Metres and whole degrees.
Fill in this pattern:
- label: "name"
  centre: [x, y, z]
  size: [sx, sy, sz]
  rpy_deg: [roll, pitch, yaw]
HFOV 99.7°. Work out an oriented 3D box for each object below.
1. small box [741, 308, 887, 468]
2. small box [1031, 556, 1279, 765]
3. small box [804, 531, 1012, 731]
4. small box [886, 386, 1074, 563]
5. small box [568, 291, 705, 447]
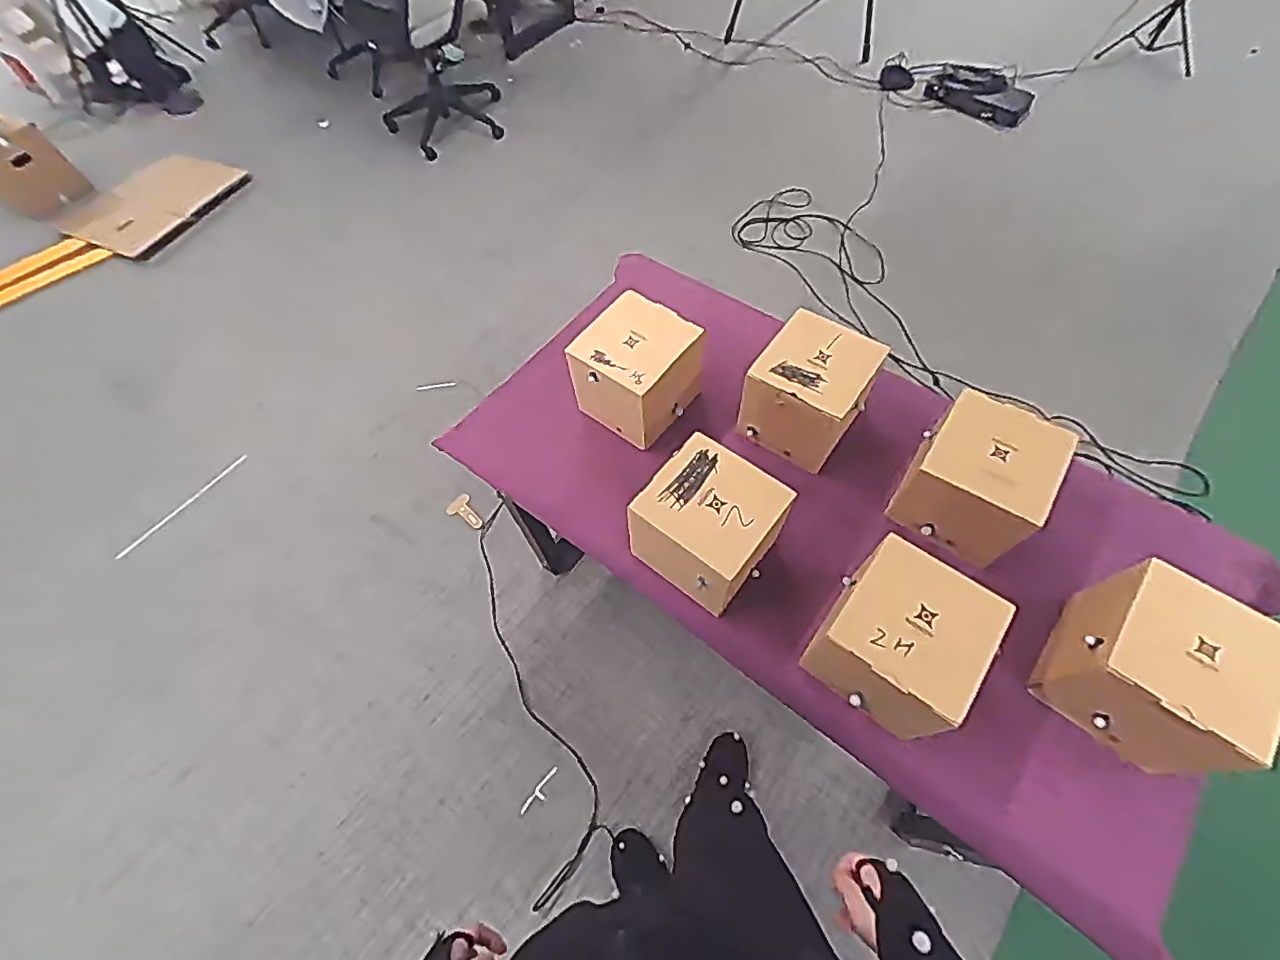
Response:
- label: "small box"
  centre: [0.287, -0.152, 0.931]
  size: [0.168, 0.176, 0.179]
  rpy_deg: [32, 67, 19]
- label: "small box"
  centre: [0.653, 0.235, 0.694]
  size: [0.168, 0.176, 0.179]
  rpy_deg: [35, 69, 21]
- label: "small box"
  centre: [0.343, 0.207, 0.726]
  size: [0.168, 0.176, 0.179]
  rpy_deg: [34, 67, 21]
- label: "small box"
  centre: [0.511, -0.004, 0.836]
  size: [0.168, 0.176, 0.179]
  rpy_deg: [31, 68, 20]
- label: "small box"
  centre: [-0.003, -0.195, 0.969]
  size: [0.168, 0.176, 0.179]
  rpy_deg: [33, 68, 21]
